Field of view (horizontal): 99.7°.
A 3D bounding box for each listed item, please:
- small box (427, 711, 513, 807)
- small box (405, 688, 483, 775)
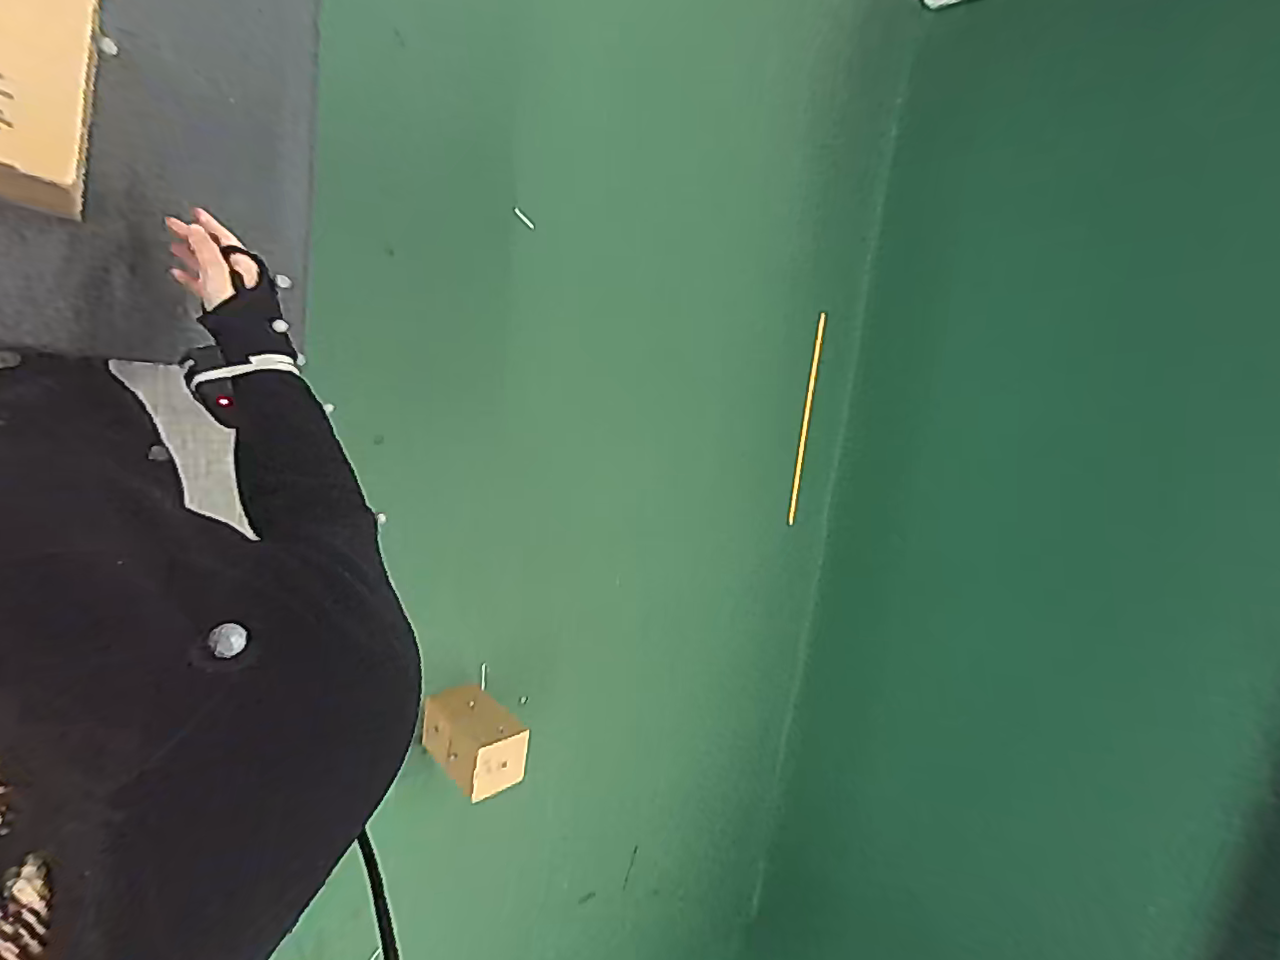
[{"bbox_3d":[-0.508,0.822,1.615,0.179,0.176,0.168,3,99,-48],"label":"small box"},{"bbox_3d":[-0.629,0.794,1.725,0.179,0.176,0.168,-2,102,-48],"label":"small box"}]
